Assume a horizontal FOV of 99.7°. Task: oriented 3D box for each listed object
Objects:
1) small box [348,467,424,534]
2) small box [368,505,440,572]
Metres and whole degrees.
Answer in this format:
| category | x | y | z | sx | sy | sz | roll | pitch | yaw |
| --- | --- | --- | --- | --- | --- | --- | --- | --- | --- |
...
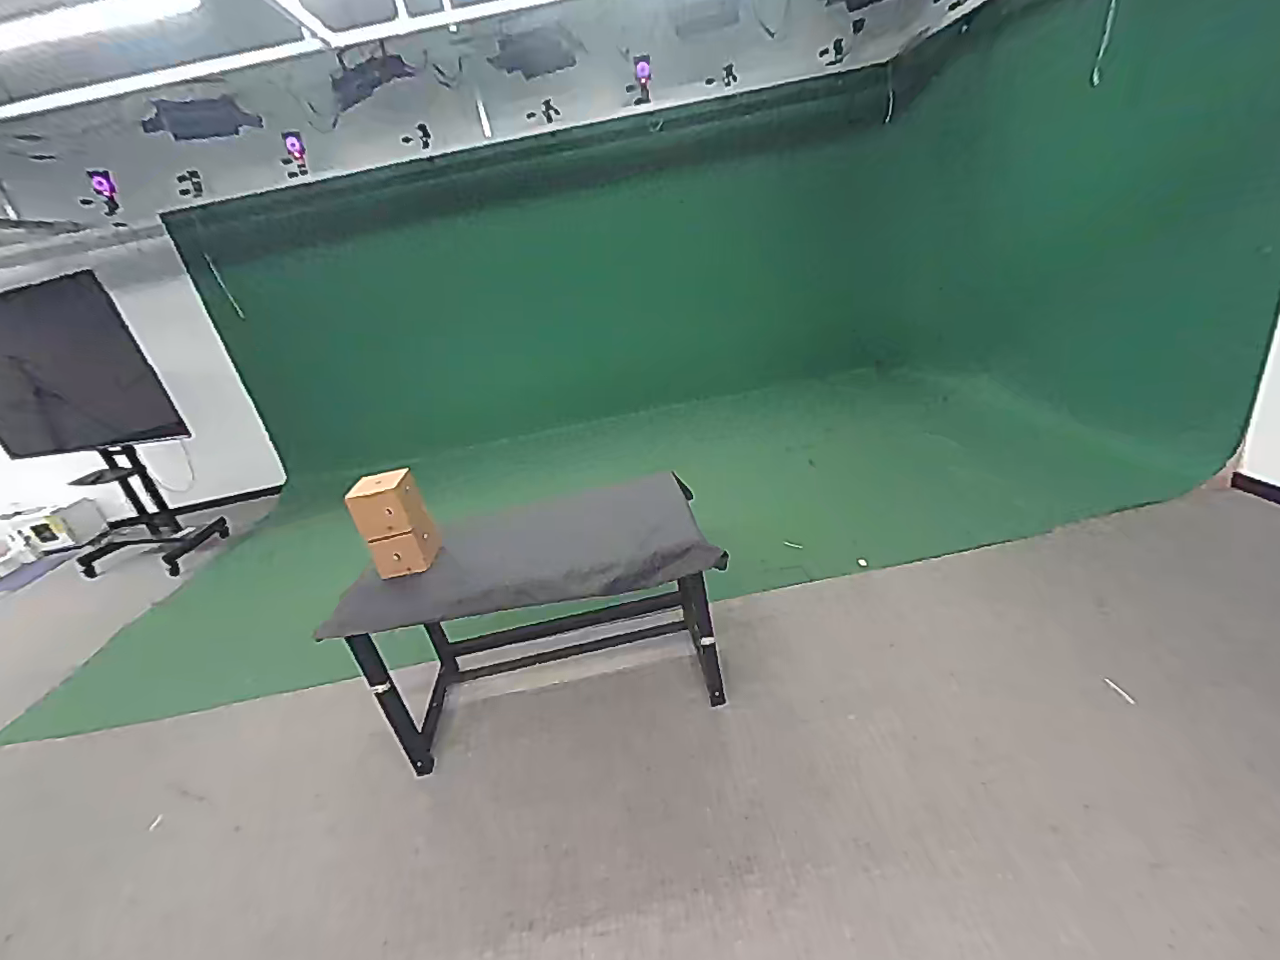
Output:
| category | x | y | z | sx | sy | sz | roll | pitch | yaw |
| --- | --- | --- | --- | --- | --- | --- | --- | --- | --- |
| small box | -0.866 | 0.075 | 1.866 | 0.168 | 0.176 | 0.179 | -11 | 23 | -2 |
| small box | -0.839 | 0.216 | 1.945 | 0.168 | 0.176 | 0.179 | -11 | 24 | 0 |
